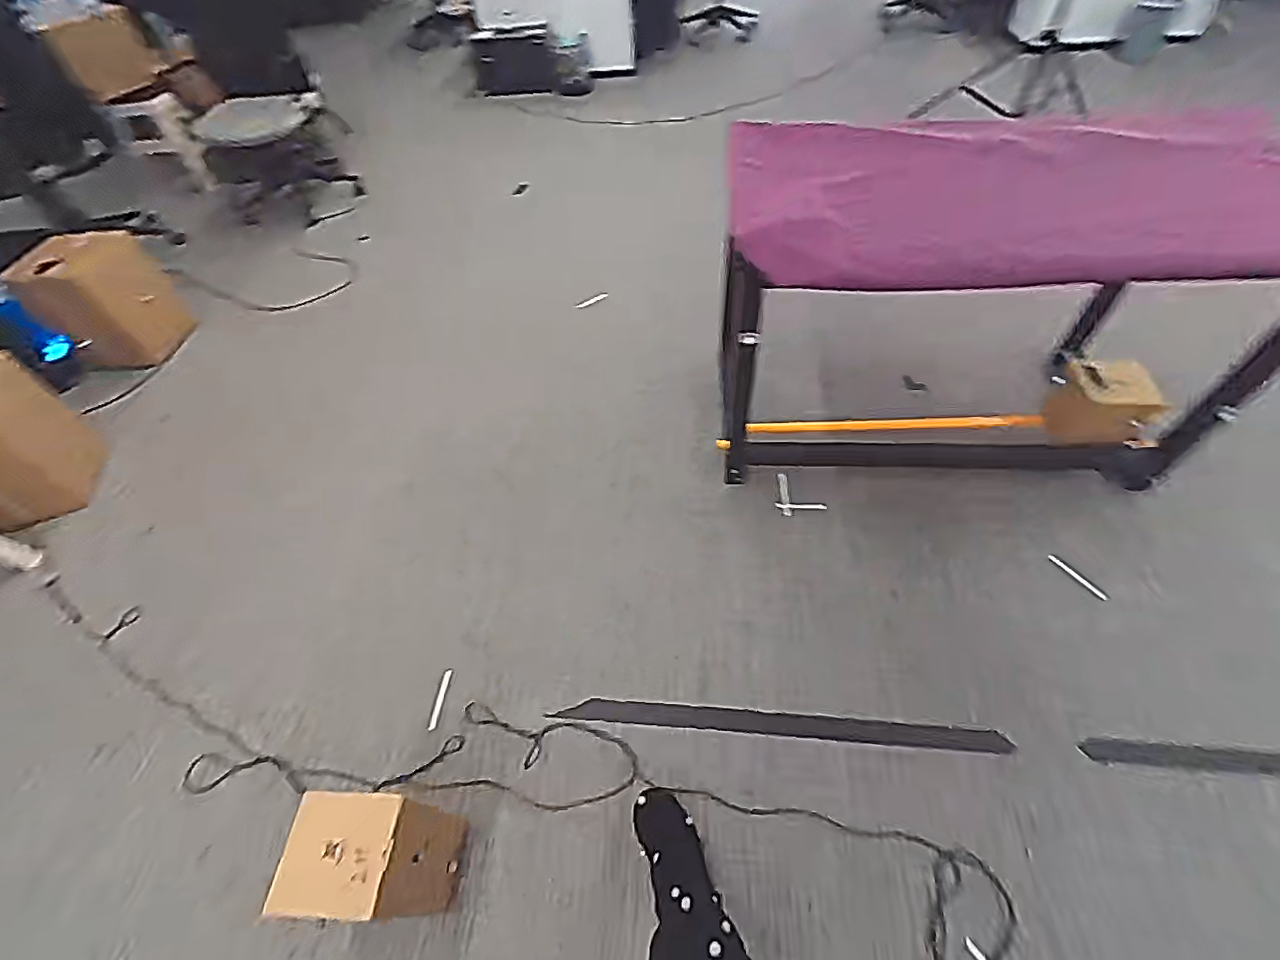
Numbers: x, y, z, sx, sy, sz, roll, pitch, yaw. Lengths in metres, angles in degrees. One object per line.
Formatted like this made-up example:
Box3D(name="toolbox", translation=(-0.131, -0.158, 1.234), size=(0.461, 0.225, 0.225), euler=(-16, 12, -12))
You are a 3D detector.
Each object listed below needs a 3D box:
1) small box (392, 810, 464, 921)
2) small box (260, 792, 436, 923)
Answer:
Box3D(name="small box", translation=(-0.464, 0.735, 1.040), size=(0.179, 0.176, 0.168), euler=(1, 53, 4))
Box3D(name="small box", translation=(-0.473, 0.634, 0.910), size=(0.179, 0.176, 0.168), euler=(0, 53, 4))
